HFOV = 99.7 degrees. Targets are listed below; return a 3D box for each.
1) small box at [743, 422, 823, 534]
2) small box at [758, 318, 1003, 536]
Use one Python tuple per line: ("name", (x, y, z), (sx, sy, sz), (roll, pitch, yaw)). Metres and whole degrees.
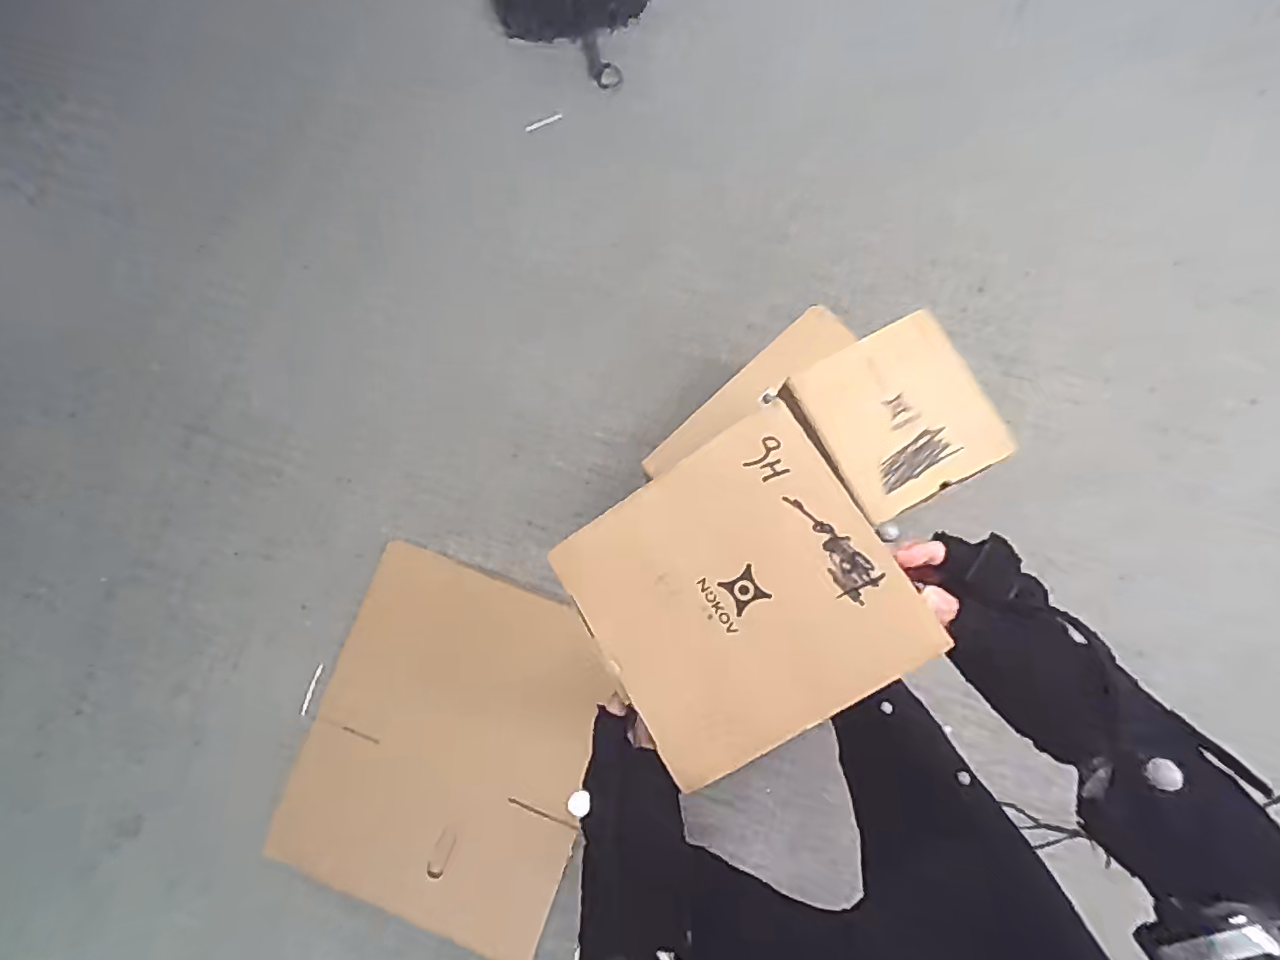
("small box", (0.269, -0.031, 0.795), (0.179, 0.176, 0.168), (-28, 81, 1))
("small box", (0.259, -0.049, 0.632), (0.168, 0.176, 0.179), (-31, 82, -1))
